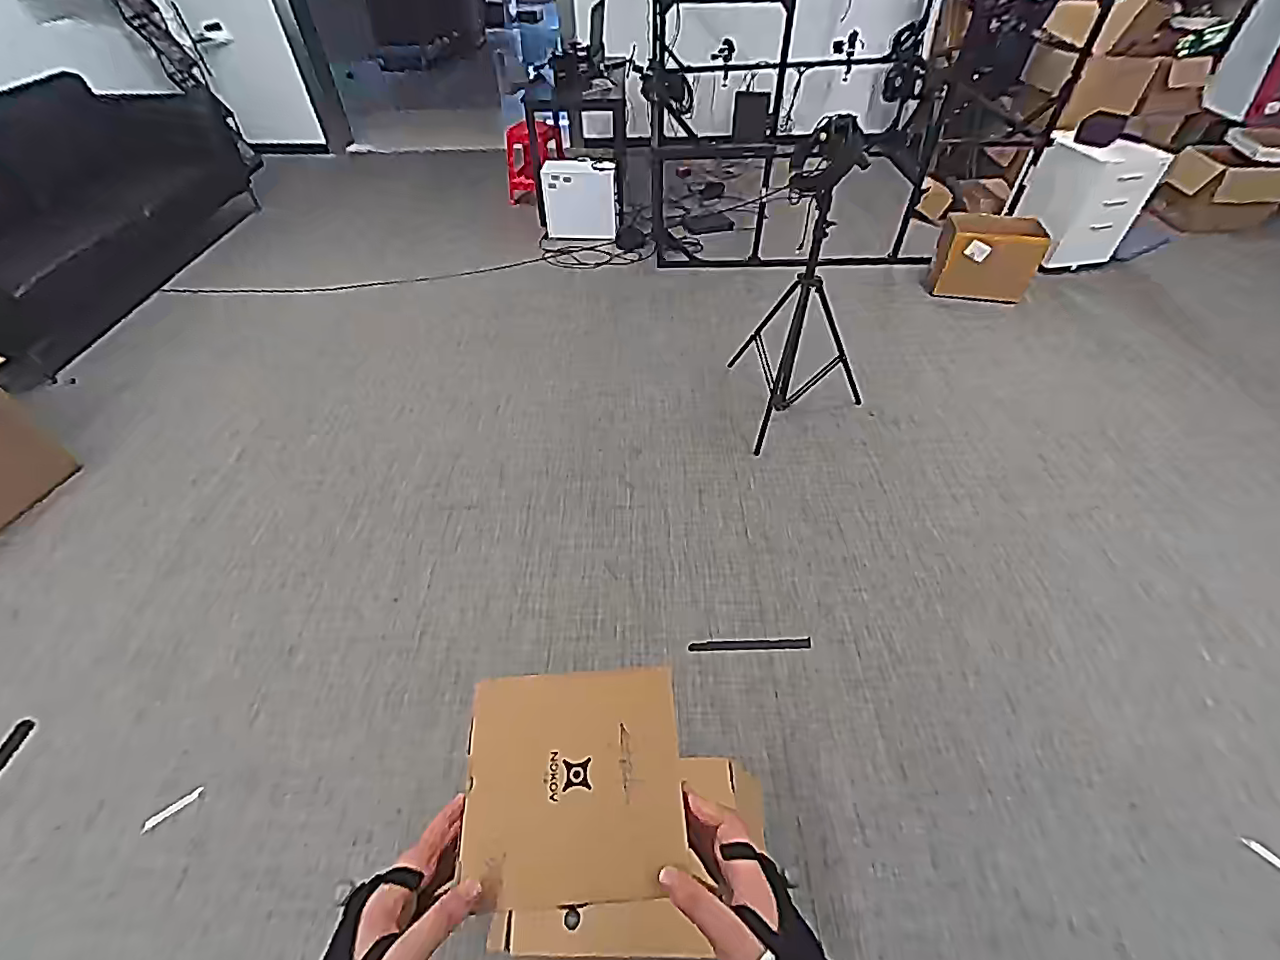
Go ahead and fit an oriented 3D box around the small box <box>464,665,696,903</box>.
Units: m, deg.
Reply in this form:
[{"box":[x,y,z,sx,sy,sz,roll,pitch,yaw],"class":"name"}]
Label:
[{"box":[-0.048,0.288,0.508,0.179,0.176,0.168,-4,54,-3],"class":"small box"}]
